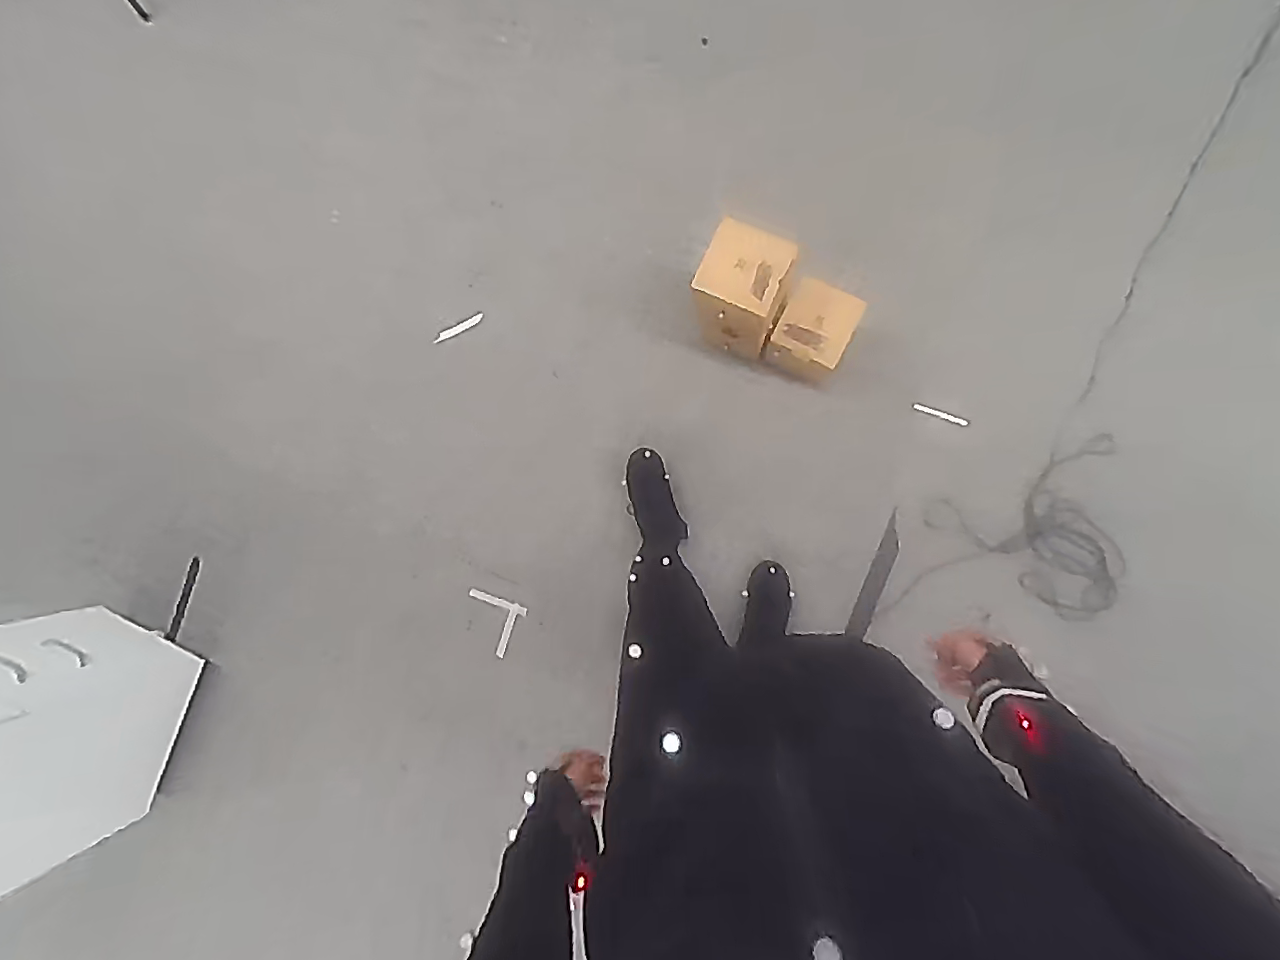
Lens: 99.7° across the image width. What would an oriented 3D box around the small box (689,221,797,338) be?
[{"bbox_3d":[0.225,-0.435,1.204,0.179,0.176,0.168,25,91,9],"label":"small box"}]
